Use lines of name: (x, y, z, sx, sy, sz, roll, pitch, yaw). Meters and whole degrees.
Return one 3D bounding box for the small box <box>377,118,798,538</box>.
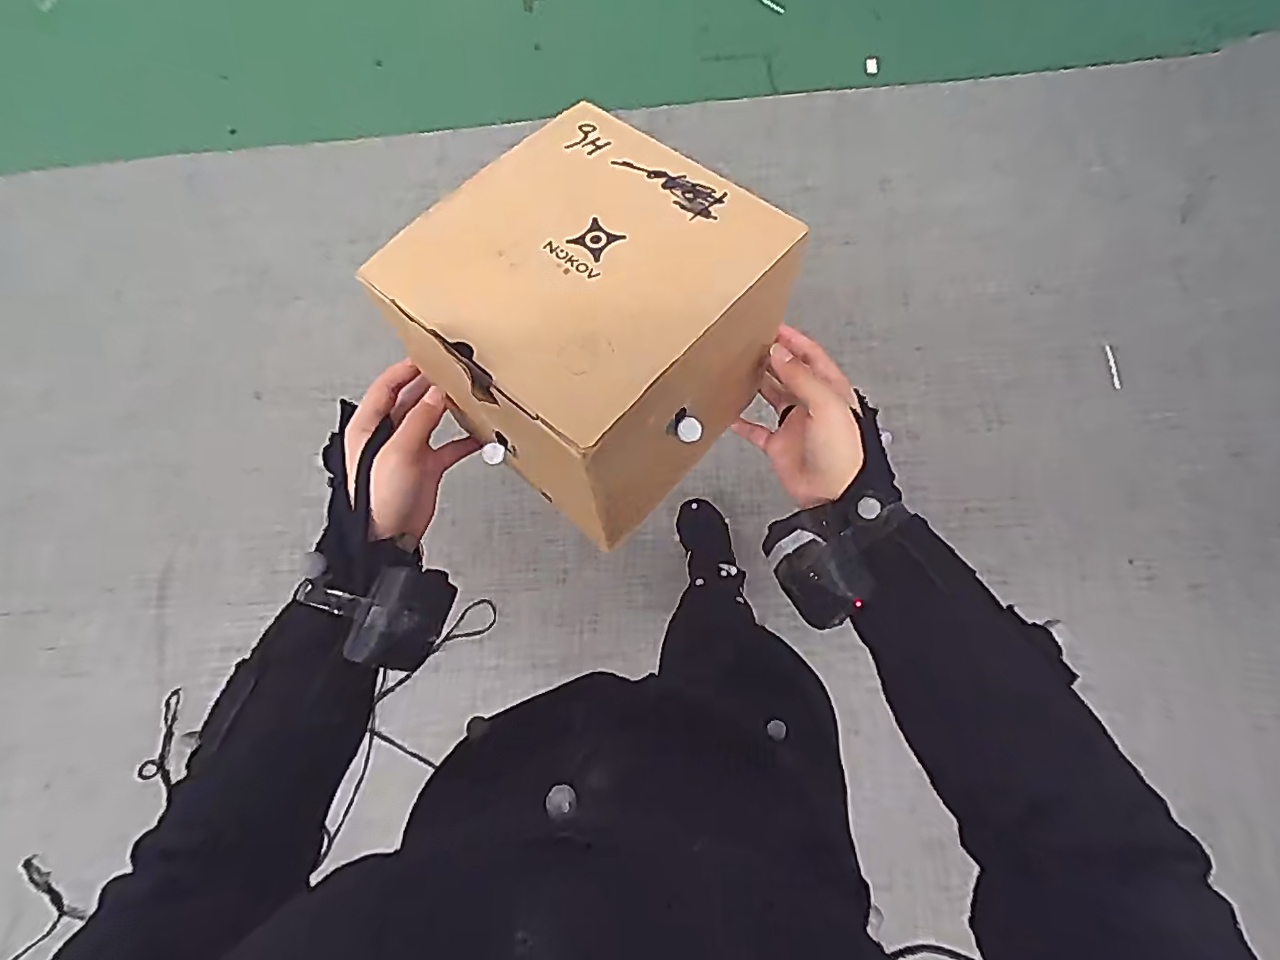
small box: (-0.024, -0.087, 0.366, 0.168, 0.176, 0.179, 38, 74, 15)
